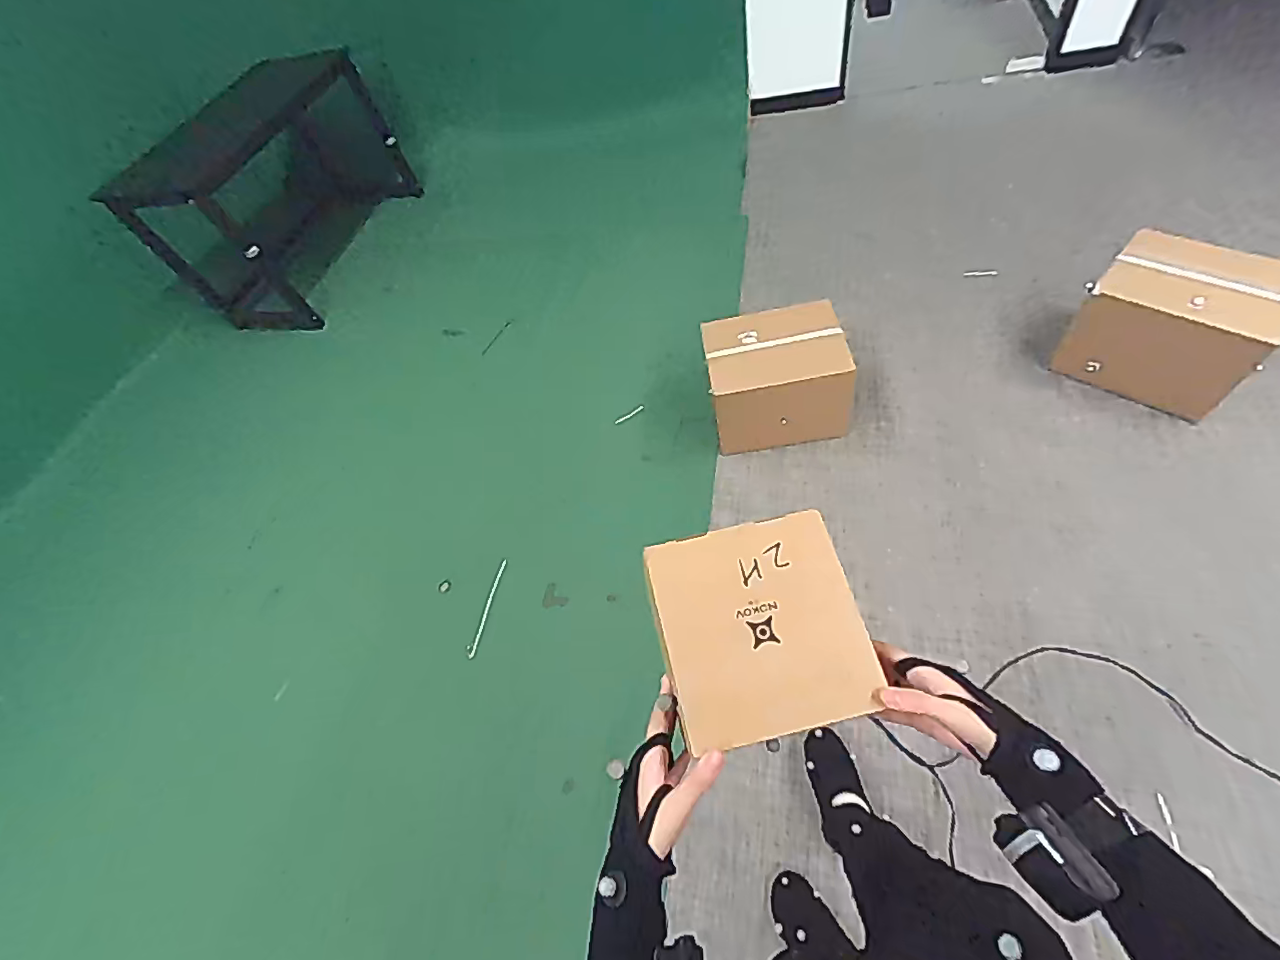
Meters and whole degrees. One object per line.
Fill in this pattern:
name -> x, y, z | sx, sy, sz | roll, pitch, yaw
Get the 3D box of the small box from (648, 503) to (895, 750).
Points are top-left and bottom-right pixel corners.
small box -> 0.106, 0.145, 0.521 | 0.168, 0.176, 0.179 | -12, 65, -4

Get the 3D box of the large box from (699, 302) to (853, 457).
large box -> 0.423, -0.311, 1.731 | 0.408, 0.320, 0.320 | -10, 55, 8
